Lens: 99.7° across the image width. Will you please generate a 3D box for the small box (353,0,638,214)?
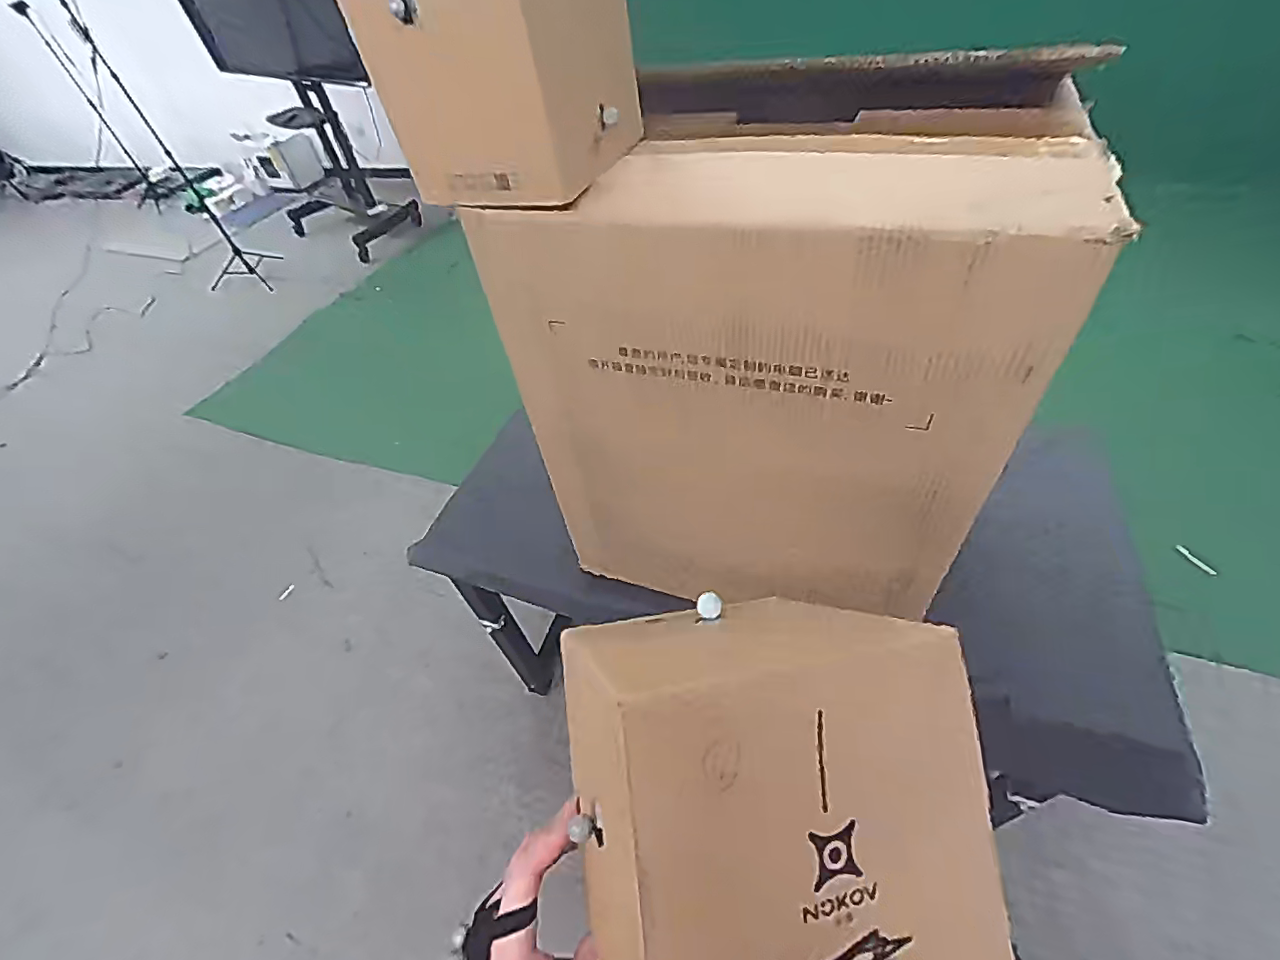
[{"bbox_3d":[-0.111,-0.364,0.494,0.168,0.176,0.179,11,50,22],"label":"small box"}]
